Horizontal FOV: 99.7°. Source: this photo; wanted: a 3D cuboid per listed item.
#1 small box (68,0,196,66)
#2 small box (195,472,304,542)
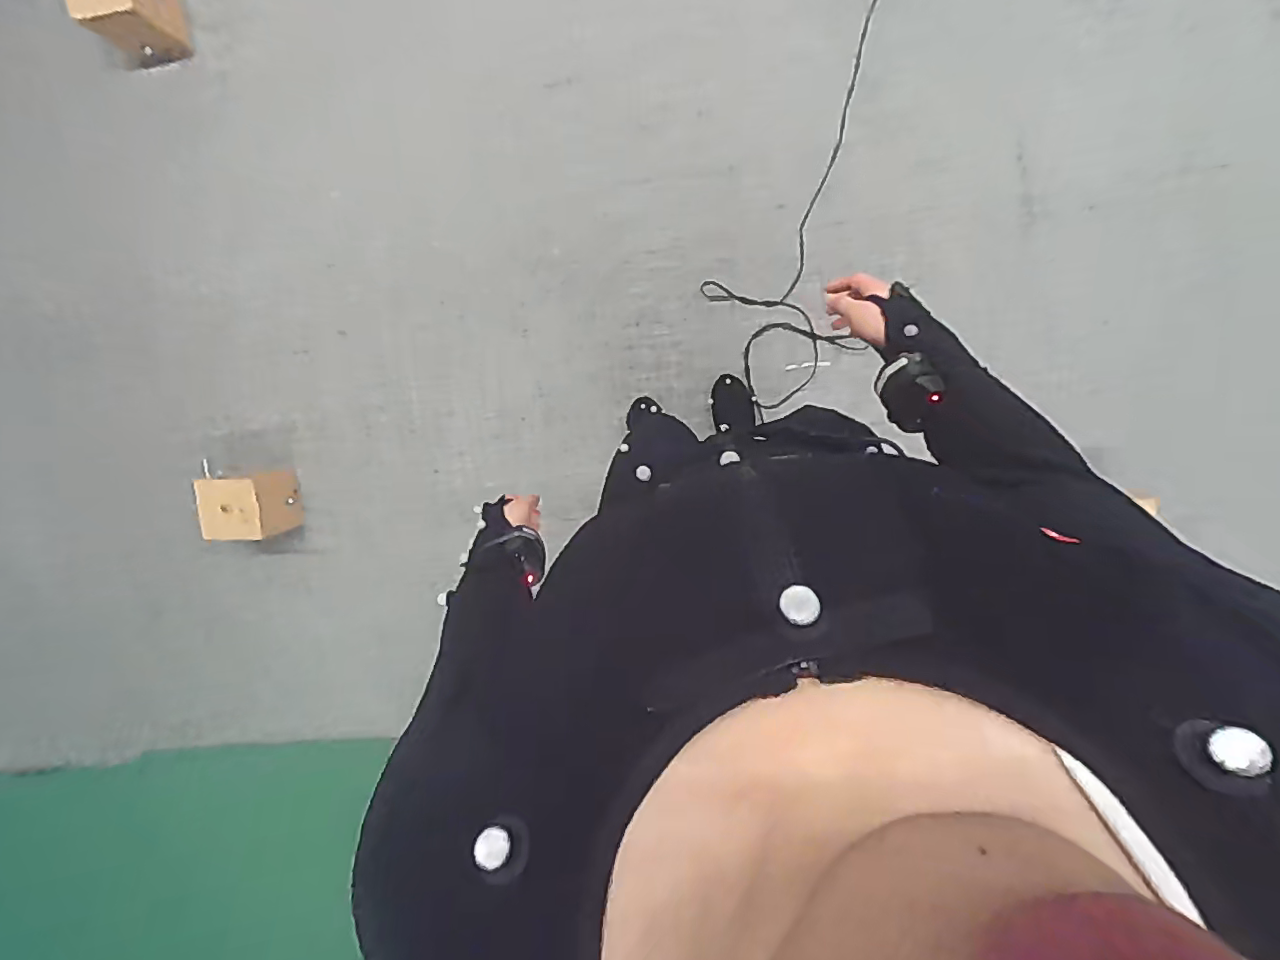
[{"bbox_3d":[-1.256,-1.175,1.335,0.168,0.176,0.179,-5,99,6],"label":"small box"},{"bbox_3d":[-1.088,0.072,1.518,0.179,0.176,0.168,-1,100,5],"label":"small box"}]
